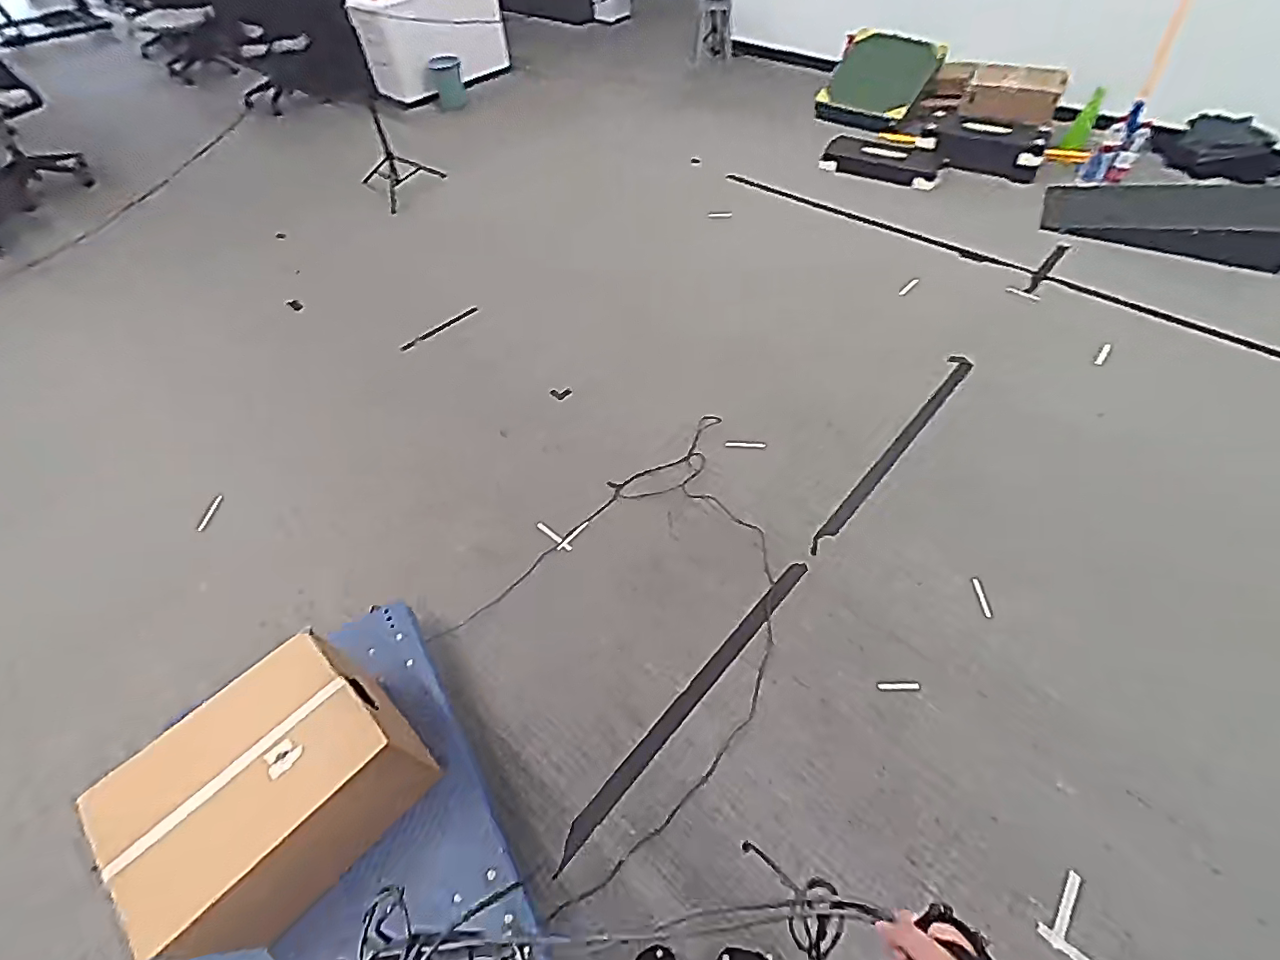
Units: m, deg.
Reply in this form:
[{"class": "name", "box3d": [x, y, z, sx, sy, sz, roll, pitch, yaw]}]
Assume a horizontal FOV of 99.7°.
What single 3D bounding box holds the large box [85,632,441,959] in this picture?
[{"class": "large box", "box3d": [-0.674, 0.588, 1.032, 0.320, 0.320, 0.408, 35, 60, 25]}]
